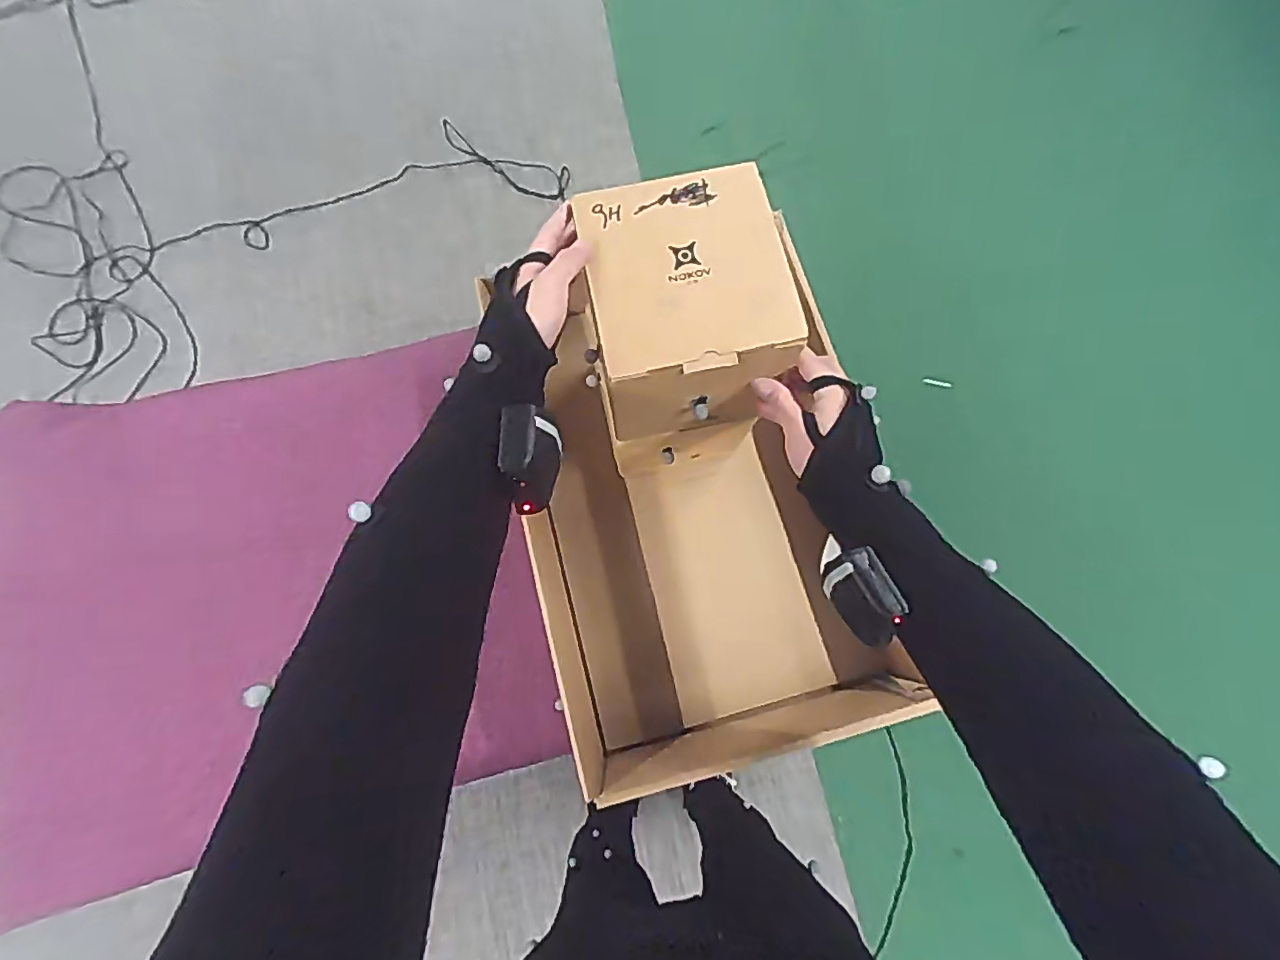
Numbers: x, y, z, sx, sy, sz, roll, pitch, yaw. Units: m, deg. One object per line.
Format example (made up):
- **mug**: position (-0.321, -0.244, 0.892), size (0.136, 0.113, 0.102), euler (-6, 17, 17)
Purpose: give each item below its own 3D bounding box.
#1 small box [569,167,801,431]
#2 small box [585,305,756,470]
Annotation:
- **small box**: position (0.036, -0.156, 0.524), size (0.168, 0.176, 0.179), euler (-12, 79, -3)
- **small box**: position (0.034, -0.118, 0.683), size (0.168, 0.176, 0.179), euler (-12, 78, -2)
